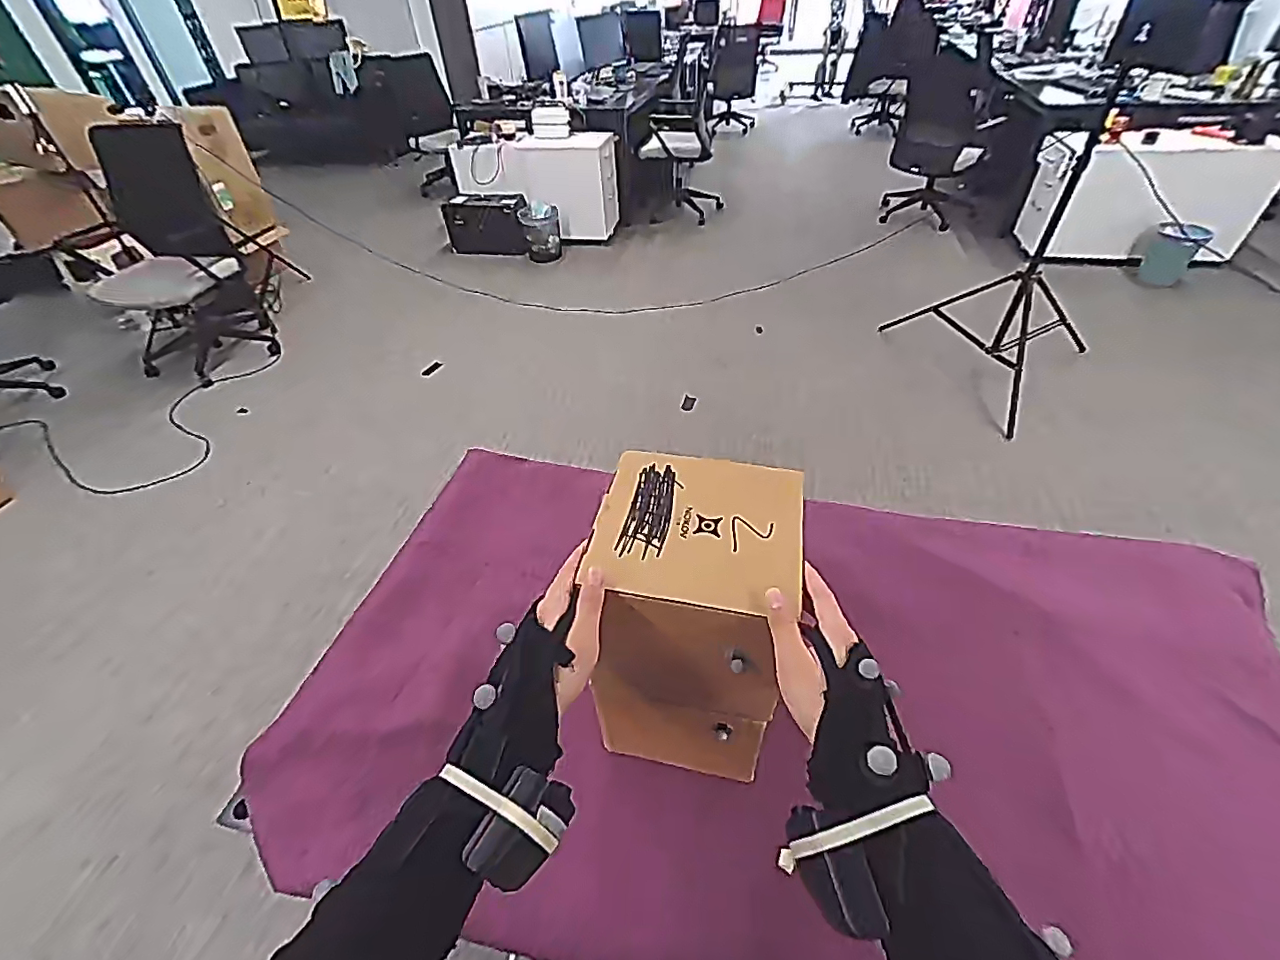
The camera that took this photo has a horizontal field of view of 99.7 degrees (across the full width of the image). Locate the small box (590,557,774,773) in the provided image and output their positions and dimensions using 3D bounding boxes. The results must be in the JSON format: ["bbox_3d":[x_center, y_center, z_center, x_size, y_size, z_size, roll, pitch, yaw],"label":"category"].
[{"bbox_3d":[0.054,0.216,0.632,0.179,0.176,0.168,7,44,10],"label":"small box"}]
